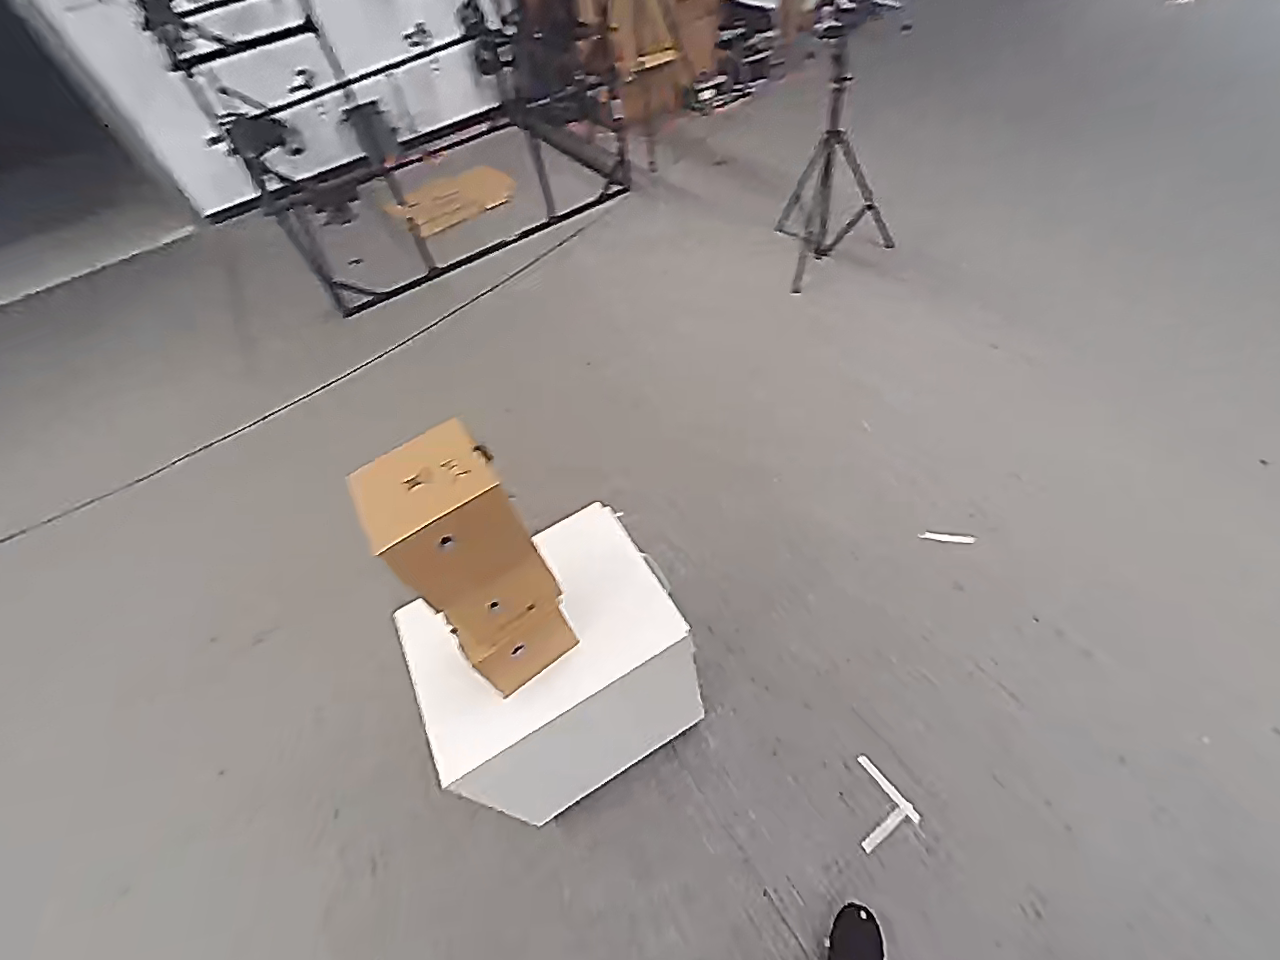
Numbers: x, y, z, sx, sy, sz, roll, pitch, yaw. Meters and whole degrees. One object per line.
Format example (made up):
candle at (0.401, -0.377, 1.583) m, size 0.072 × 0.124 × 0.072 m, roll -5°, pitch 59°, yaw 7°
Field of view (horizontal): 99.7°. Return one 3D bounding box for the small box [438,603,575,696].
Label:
small box at (-0.248, 0.275, 1.028) m, size 0.179 × 0.176 × 0.168 m, roll -34°, pitch 53°, yaw -17°

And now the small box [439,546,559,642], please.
small box at (-0.261, 0.151, 0.920) m, size 0.168 × 0.176 × 0.179 m, roll -34°, pitch 52°, yaw -16°

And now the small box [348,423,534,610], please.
small box at (-0.282, 0.056, 0.786) m, size 0.179 × 0.176 × 0.168 m, roll -31°, pitch 52°, yaw -14°
